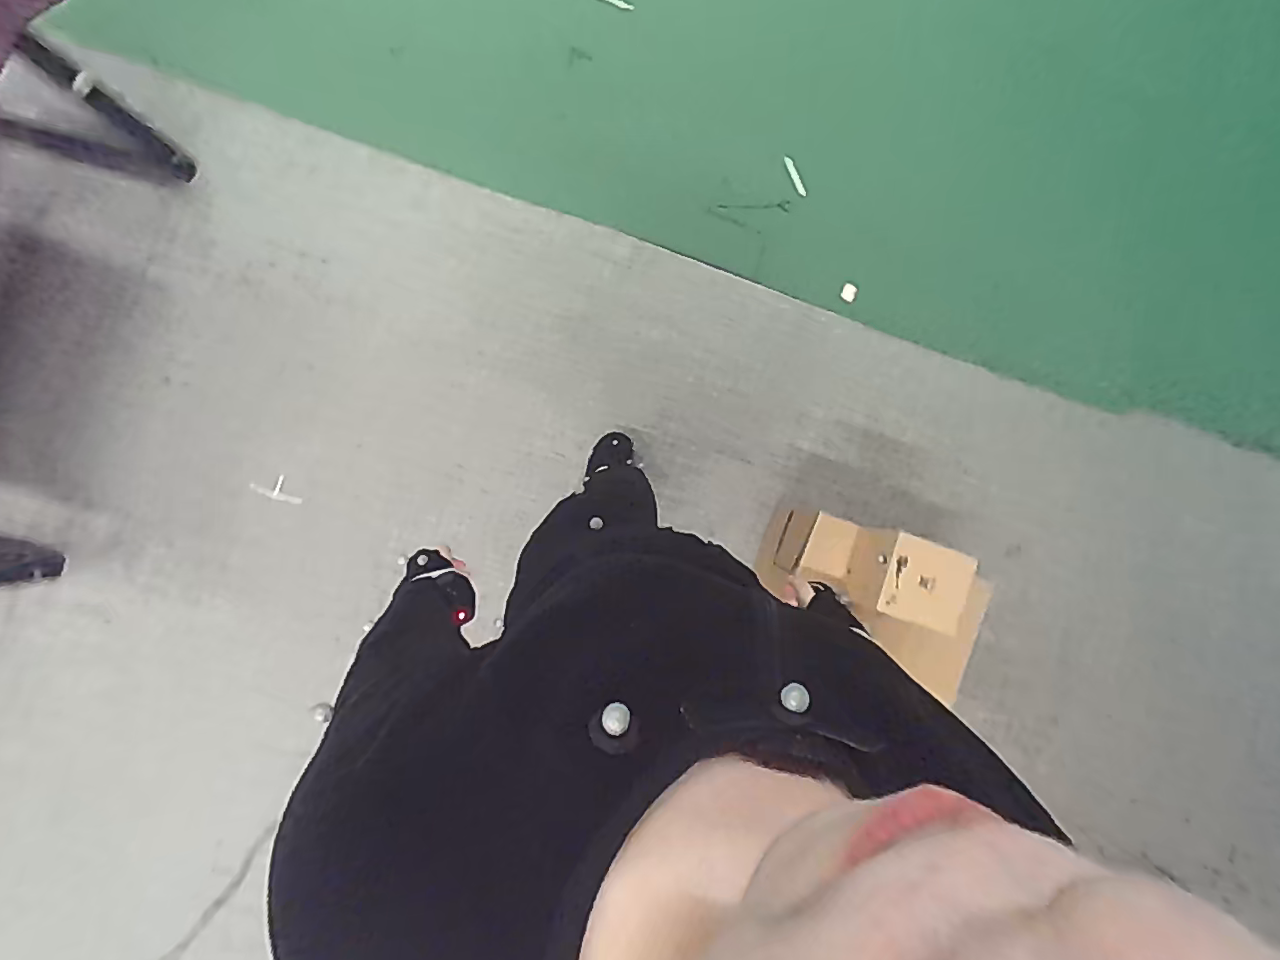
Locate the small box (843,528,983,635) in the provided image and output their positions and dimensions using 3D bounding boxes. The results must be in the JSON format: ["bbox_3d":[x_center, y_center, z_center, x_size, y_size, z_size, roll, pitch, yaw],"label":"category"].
[{"bbox_3d":[0.567,0.203,1.143,0.179,0.176,0.168,20,86,-4],"label":"small box"}]

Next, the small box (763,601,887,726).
[{"bbox_3d":[0.371,0.370,1.121,0.168,0.176,0.179,19,86,-4],"label":"small box"}]
